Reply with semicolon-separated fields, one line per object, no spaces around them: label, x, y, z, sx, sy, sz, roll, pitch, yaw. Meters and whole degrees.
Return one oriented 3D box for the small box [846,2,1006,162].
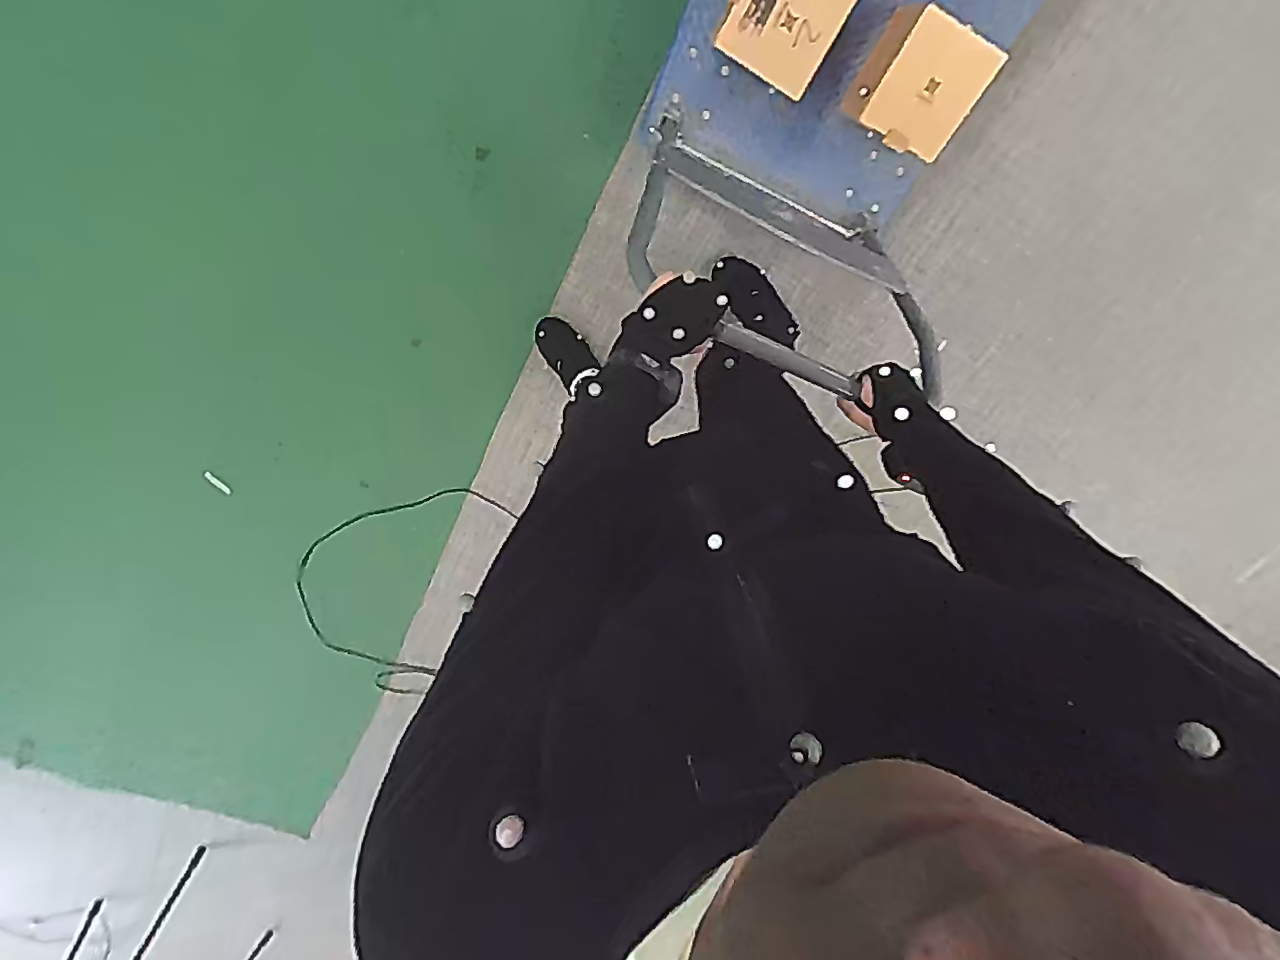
small box;0.501;-0.722;0.981;0.168;0.176;0.179;21;131;-13
